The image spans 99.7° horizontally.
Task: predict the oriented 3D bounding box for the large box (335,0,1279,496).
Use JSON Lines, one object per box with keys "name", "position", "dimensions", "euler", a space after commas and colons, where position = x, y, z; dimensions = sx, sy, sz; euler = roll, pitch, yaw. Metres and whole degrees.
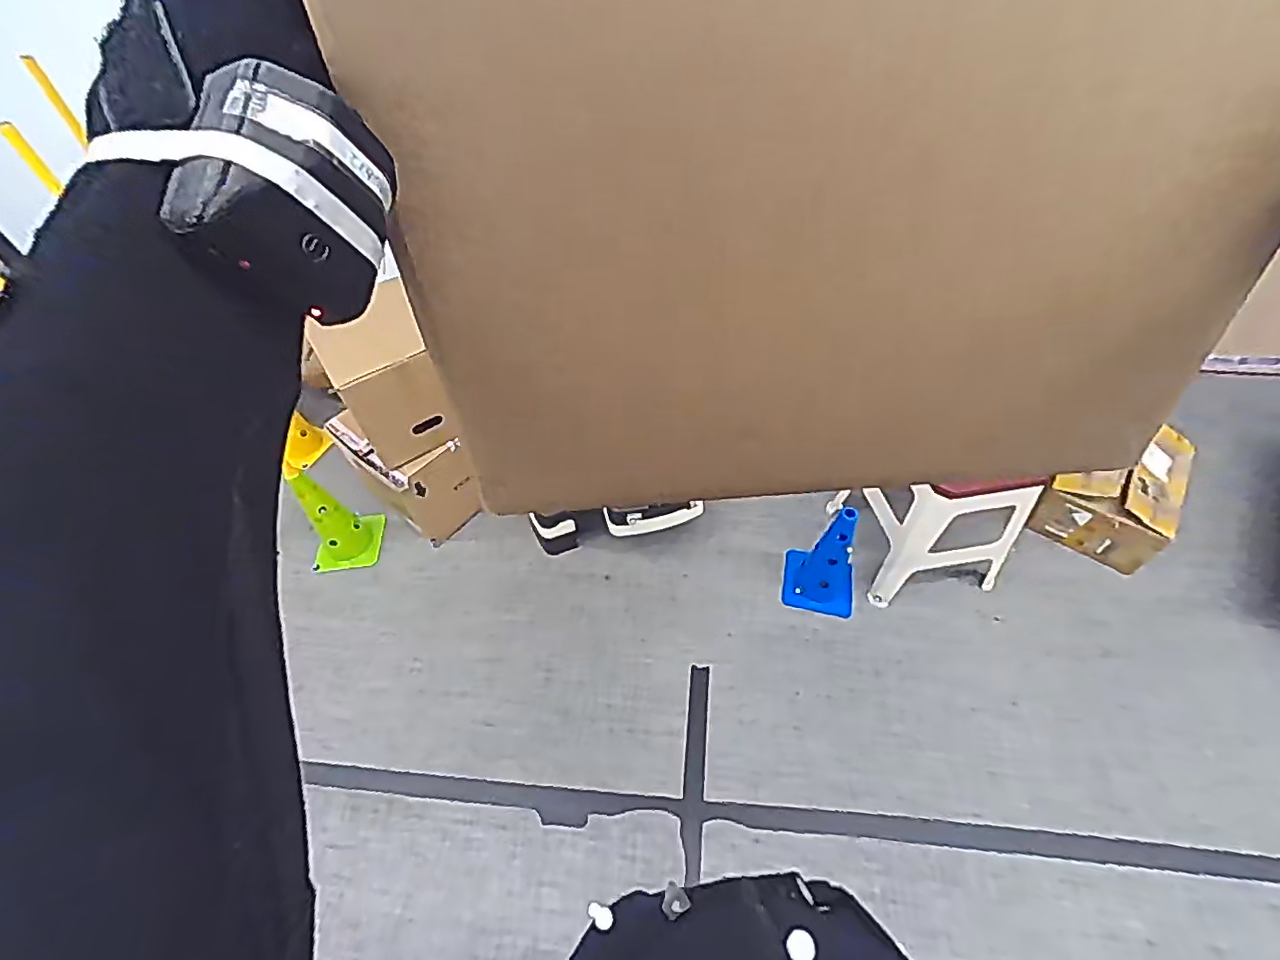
{"name": "large box", "position": [0.083, -0.211, 0.360], "dimensions": [0.408, 0.320, 0.320], "euler": [-4, 40, 0]}
